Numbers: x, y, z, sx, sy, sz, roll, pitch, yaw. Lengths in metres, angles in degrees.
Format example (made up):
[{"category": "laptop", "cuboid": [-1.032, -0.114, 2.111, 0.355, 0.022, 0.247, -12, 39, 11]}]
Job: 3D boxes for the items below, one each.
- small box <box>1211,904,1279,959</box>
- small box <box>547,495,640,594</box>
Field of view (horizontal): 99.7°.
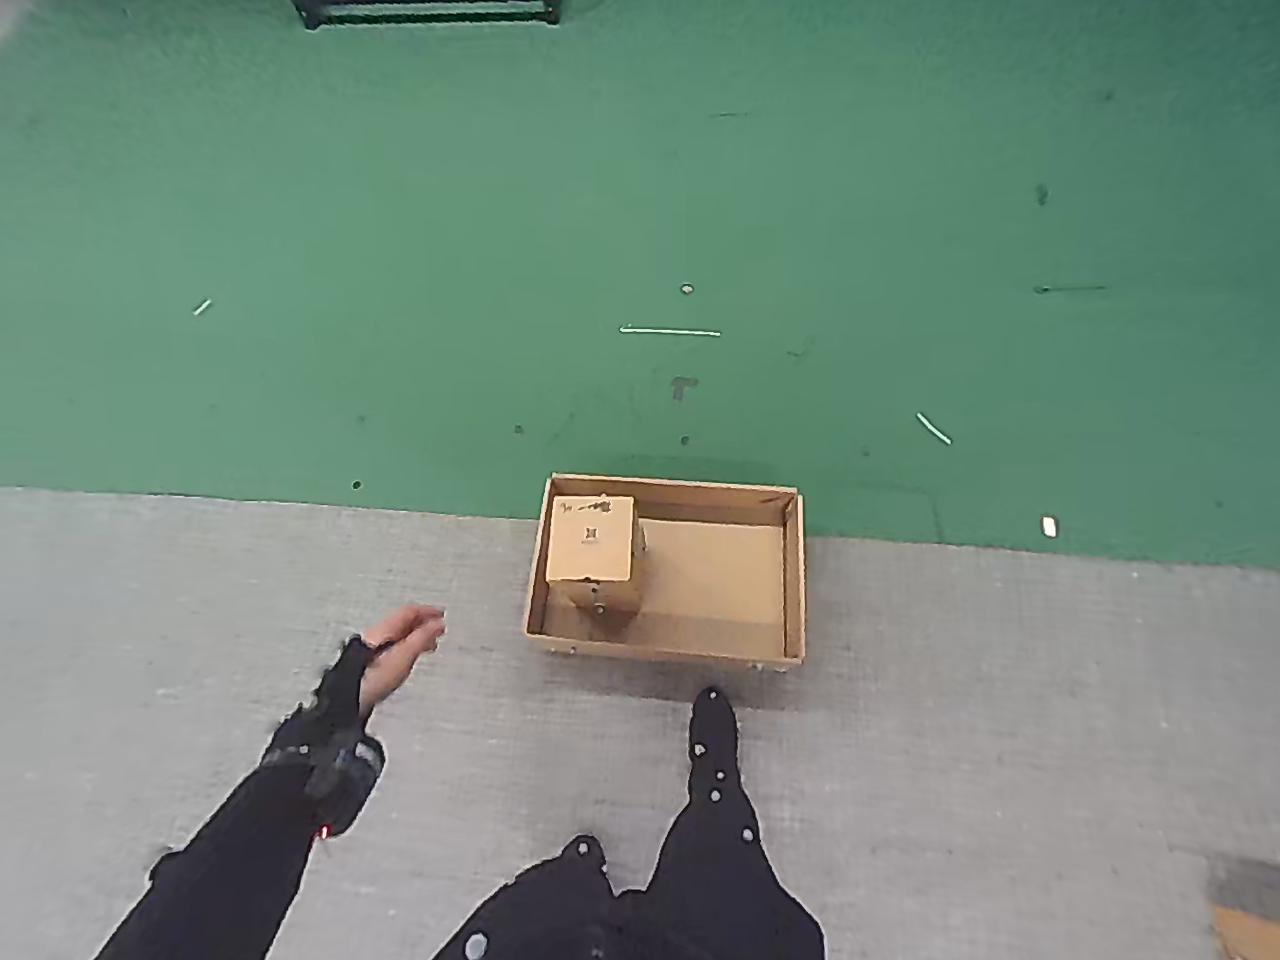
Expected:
[{"category": "small box", "cuboid": [1.205, 0.897, 0.968, 0.179, 0.176, 0.168, 8, 68, 7]}, {"category": "small box", "cuboid": [-0.088, 0.140, 1.132, 0.168, 0.176, 0.179, 1, 69, 4]}]
